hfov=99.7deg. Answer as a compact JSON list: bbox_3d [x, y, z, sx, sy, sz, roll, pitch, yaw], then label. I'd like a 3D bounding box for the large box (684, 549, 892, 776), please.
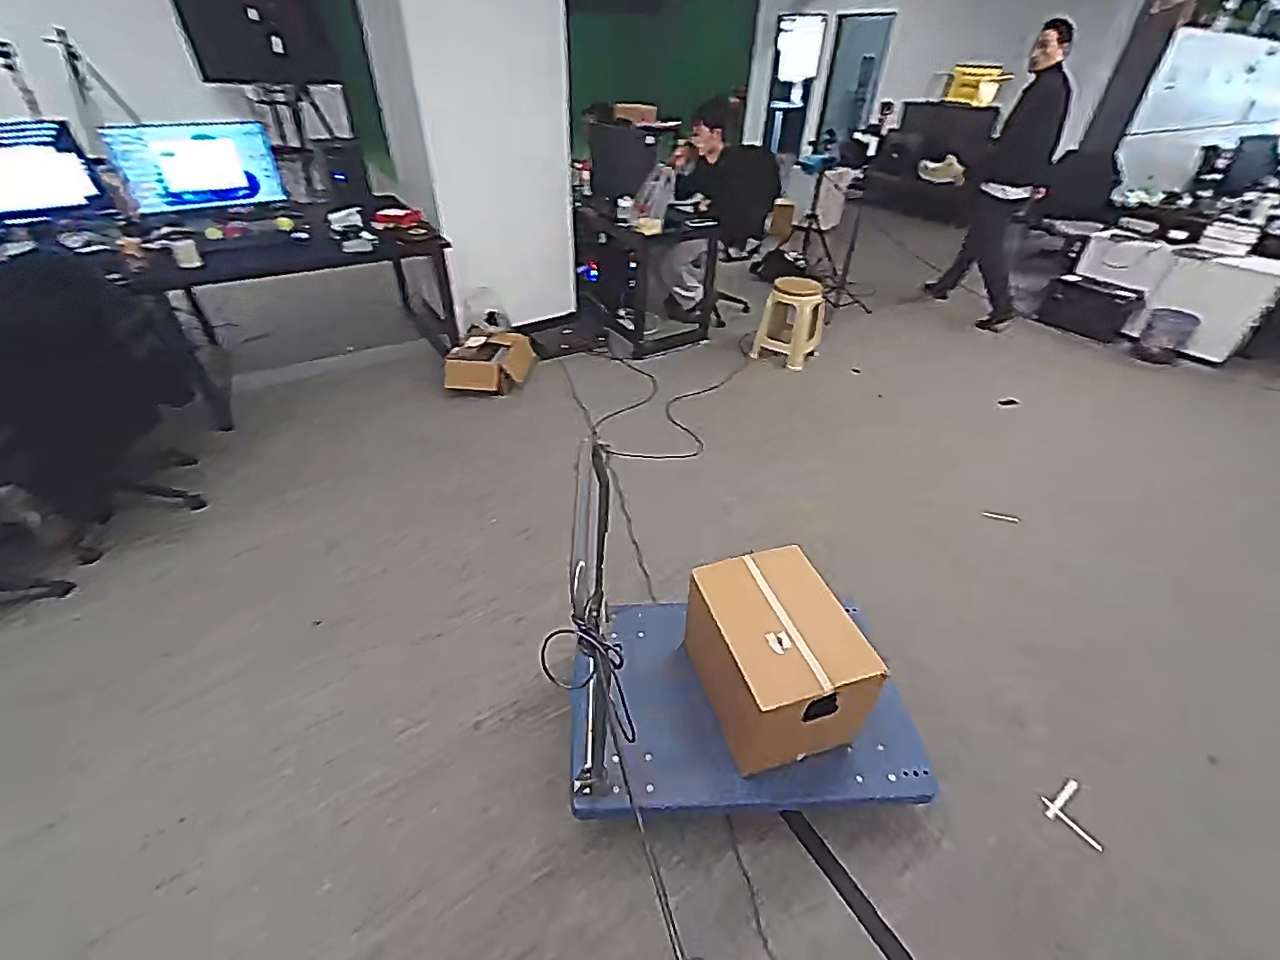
[{"bbox_3d":[0.333,0.443,1.362,0.320,0.320,0.408,-11,41,-14],"label":"large box"}]
